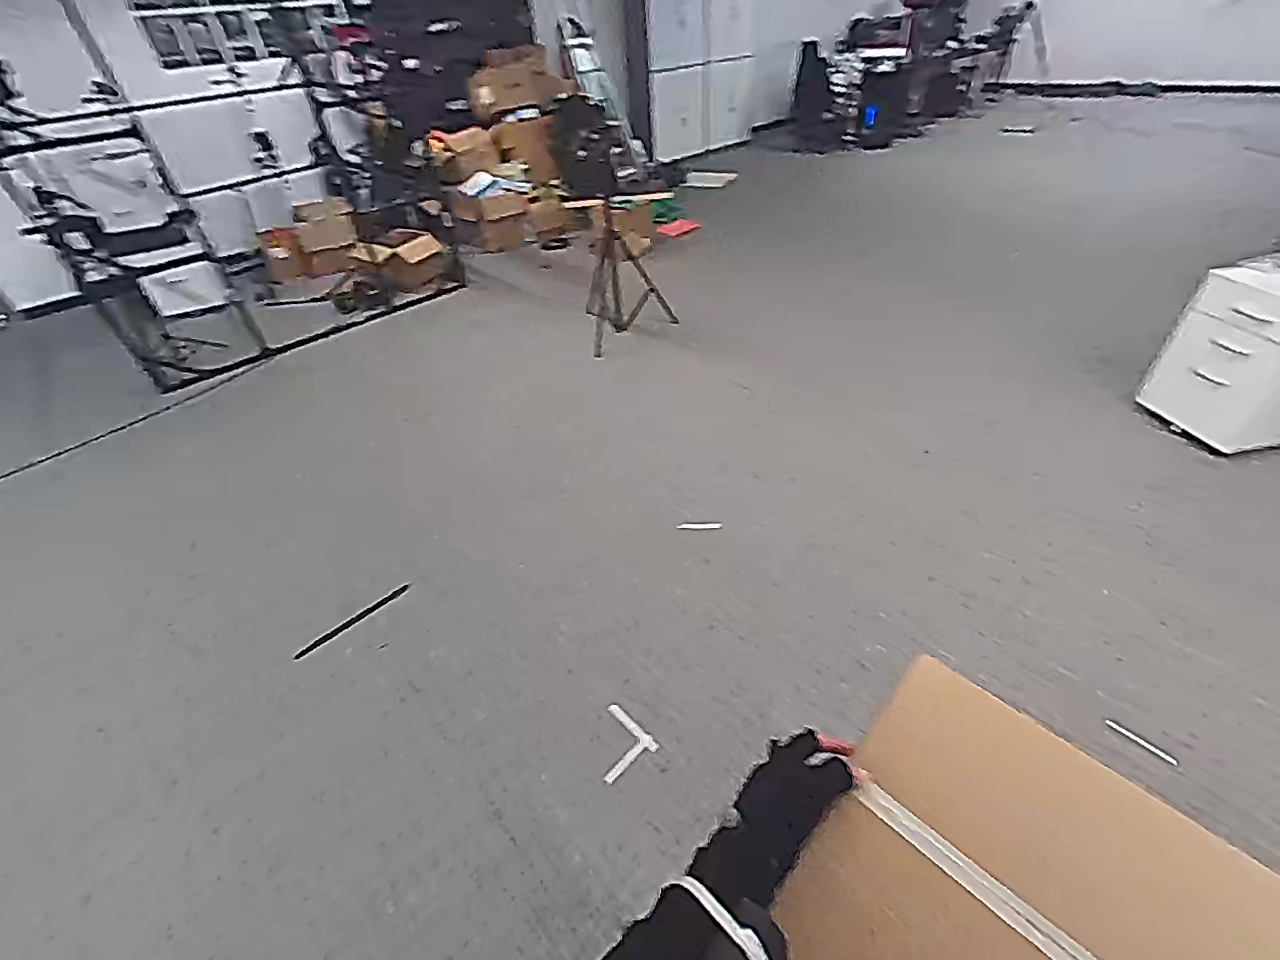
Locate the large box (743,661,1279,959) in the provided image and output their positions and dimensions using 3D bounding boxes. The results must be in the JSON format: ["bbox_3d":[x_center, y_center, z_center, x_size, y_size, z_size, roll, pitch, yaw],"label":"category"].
[{"bbox_3d":[0.353,0.467,0.526,0.408,0.320,0.320,32,61,31],"label":"large box"}]
